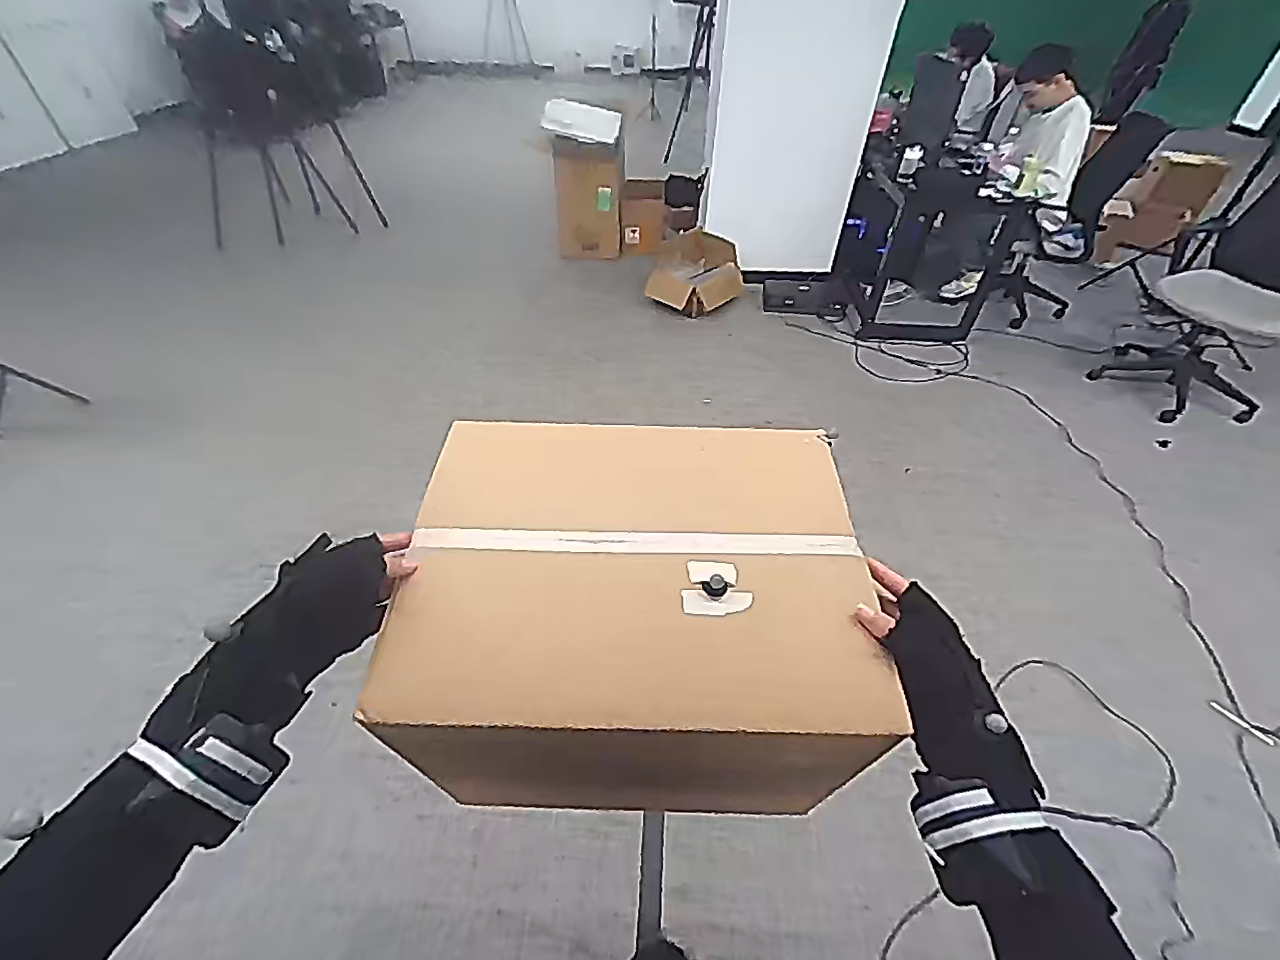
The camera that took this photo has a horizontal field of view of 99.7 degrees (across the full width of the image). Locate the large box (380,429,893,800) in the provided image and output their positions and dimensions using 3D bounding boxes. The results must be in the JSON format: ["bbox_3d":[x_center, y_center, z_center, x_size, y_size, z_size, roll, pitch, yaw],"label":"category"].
[{"bbox_3d":[-0.005,0.160,0.619,0.408,0.320,0.320,2,50,0],"label":"large box"}]
